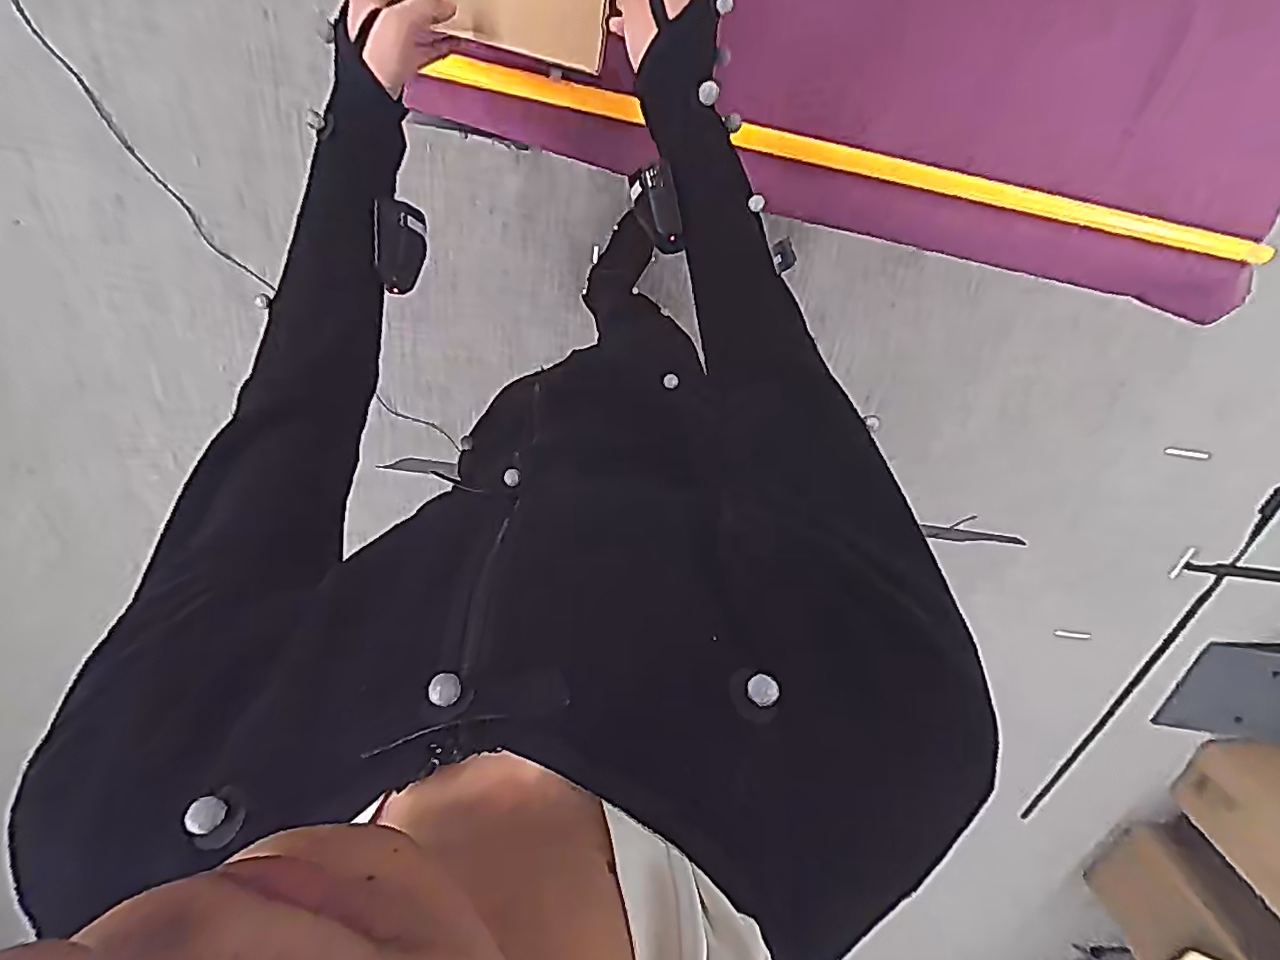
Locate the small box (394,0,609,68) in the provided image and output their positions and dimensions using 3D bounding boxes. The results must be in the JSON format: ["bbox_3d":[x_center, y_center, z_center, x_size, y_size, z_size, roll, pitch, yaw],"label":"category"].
[{"bbox_3d":[-0.111,-0.495,0.486,0.179,0.176,0.168,7,127,-10],"label":"small box"}]

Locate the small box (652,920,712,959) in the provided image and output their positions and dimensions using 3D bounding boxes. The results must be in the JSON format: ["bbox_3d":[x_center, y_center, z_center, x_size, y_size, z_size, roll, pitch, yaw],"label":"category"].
[{"bbox_3d":[0.148,1.718,1.936,0.168,0.176,0.179,22,117,-13],"label":"small box"}]
